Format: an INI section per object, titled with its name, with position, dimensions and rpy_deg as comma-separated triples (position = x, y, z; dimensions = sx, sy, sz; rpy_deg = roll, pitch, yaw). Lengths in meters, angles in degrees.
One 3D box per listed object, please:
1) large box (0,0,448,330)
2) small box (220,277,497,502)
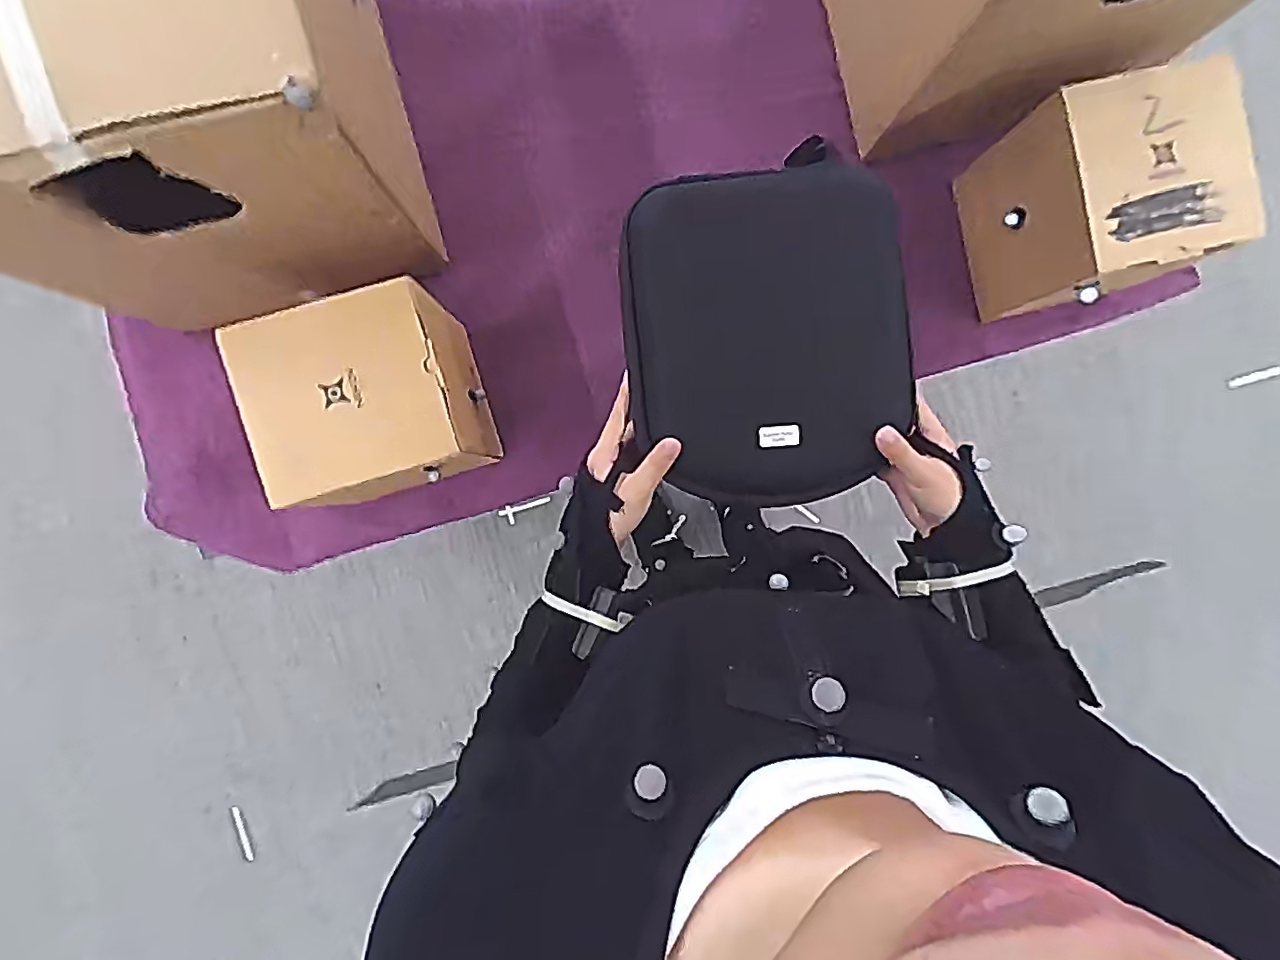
[large box]
position = -0.414, -0.395, 0.478
dimensions = 0.320, 0.320, 0.408
rpy_deg = -17, 95, -3
[small box]
position = -0.272, -0.080, 0.564
dimensions = 0.179, 0.176, 0.168
rpy_deg = -18, 91, -2
